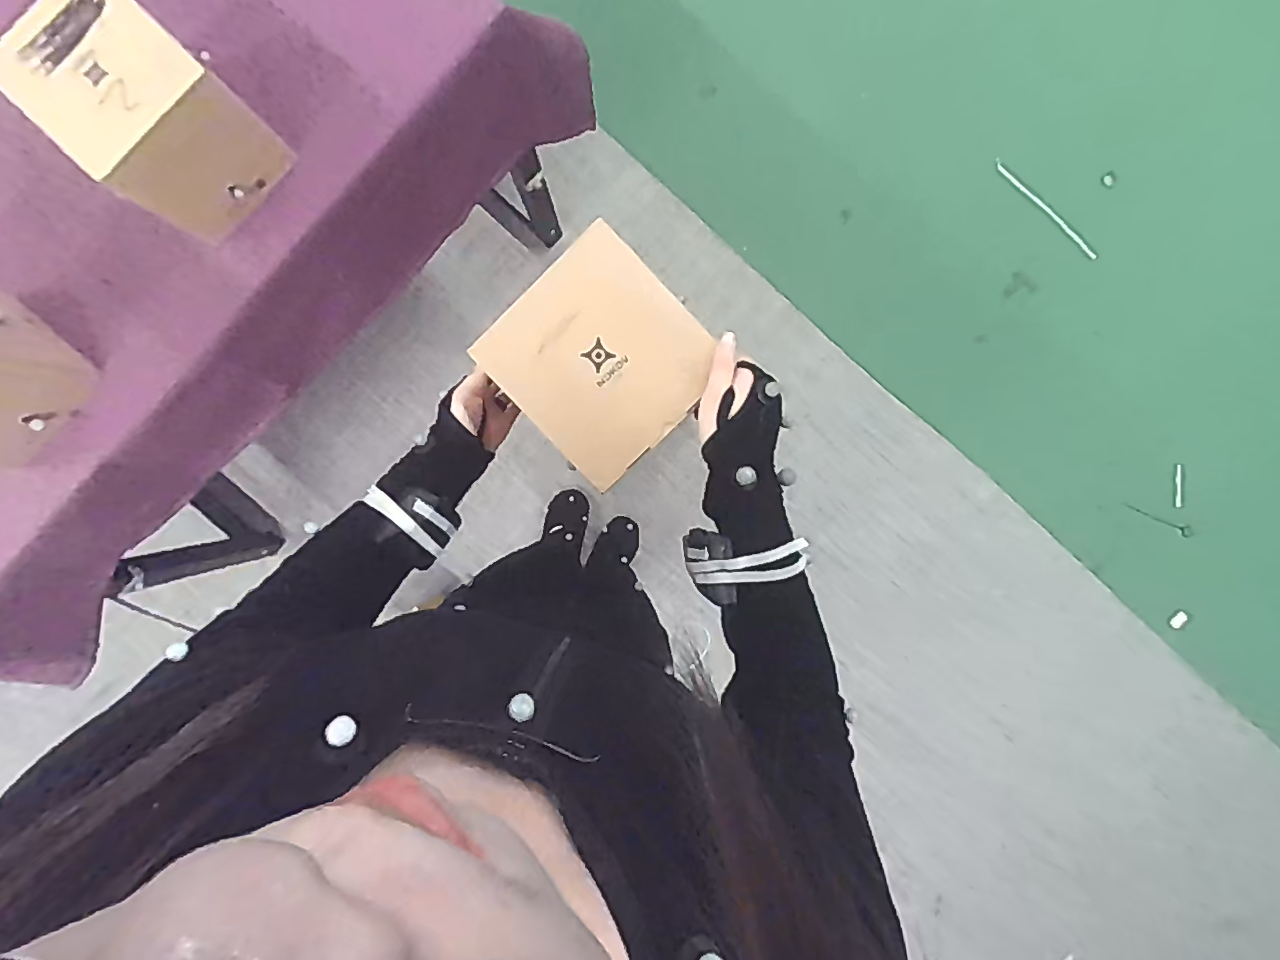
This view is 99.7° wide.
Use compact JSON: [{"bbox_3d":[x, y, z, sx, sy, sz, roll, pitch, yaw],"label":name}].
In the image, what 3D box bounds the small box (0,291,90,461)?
[{"bbox_3d":[-0.840,-0.138,0.649,0.168,0.176,0.179,41,90,-2],"label":"small box"}]
